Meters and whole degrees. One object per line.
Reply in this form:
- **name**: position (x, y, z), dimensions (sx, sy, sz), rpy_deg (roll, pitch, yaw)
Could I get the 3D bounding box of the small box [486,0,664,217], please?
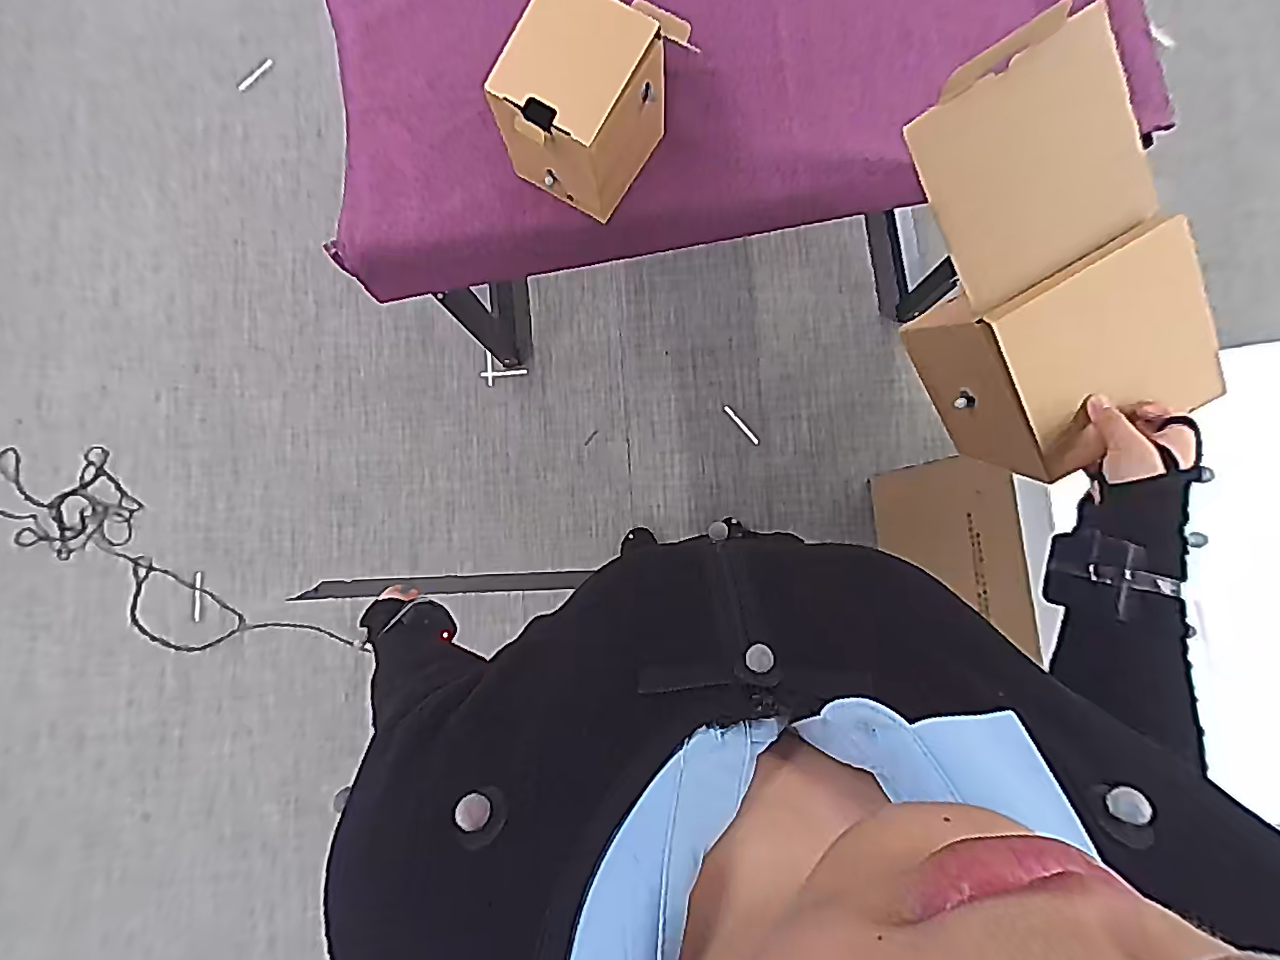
- **small box**: position (-0.080, -0.520, 0.761), dimensions (0.168, 0.176, 0.179), rpy_deg (32, 86, 6)
